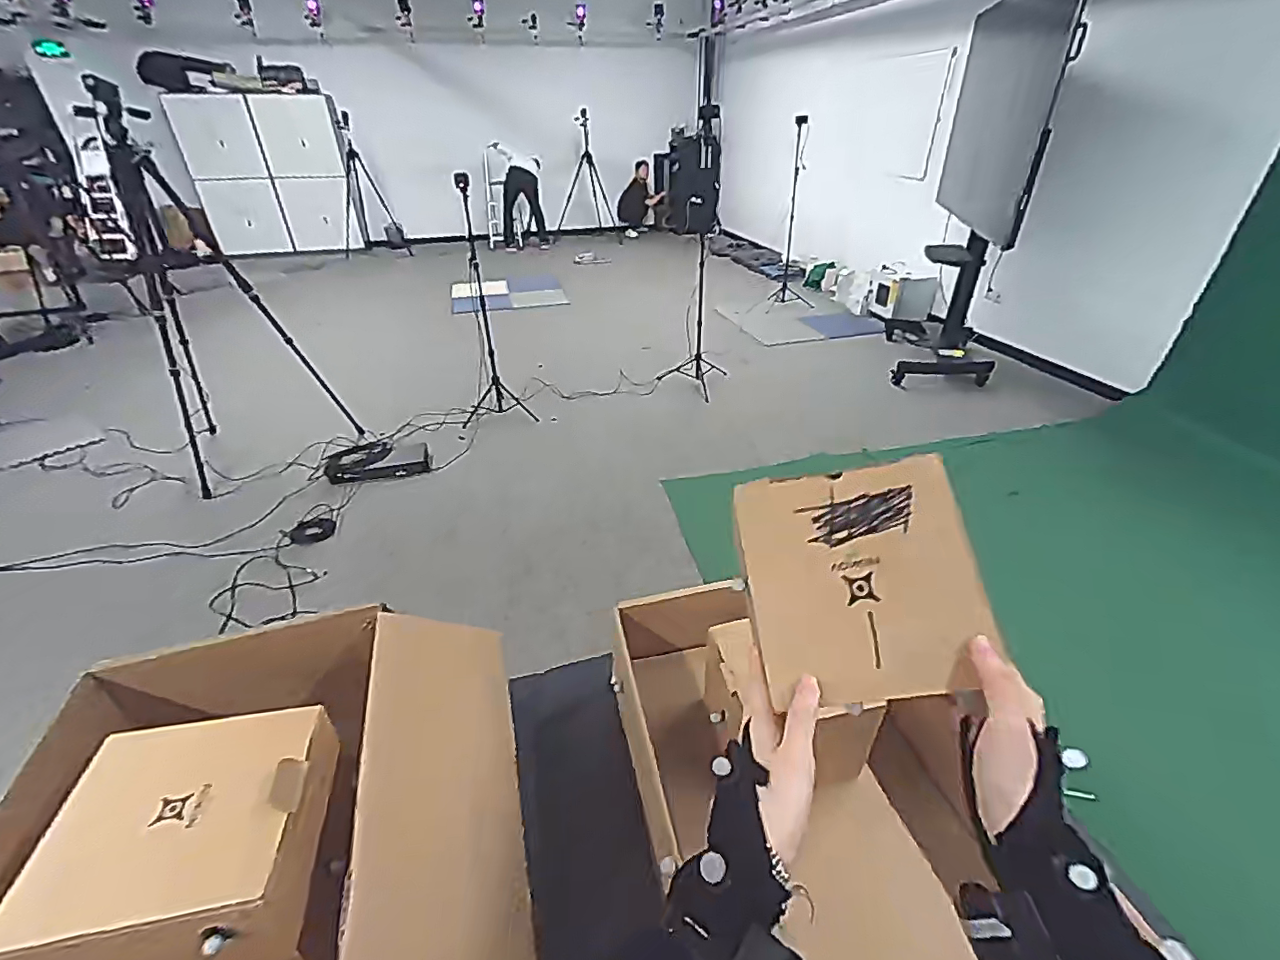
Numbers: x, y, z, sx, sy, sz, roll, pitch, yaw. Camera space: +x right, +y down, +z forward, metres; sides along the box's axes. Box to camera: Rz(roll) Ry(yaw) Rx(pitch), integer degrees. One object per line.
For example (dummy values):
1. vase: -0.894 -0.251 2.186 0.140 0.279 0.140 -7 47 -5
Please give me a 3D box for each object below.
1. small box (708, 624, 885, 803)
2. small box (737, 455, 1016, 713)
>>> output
1. small box: 0.200 0.311 0.744 0.179 0.176 0.168 -9 35 -9
2. small box: 0.178 0.098 0.474 0.168 0.176 0.179 -10 71 8
